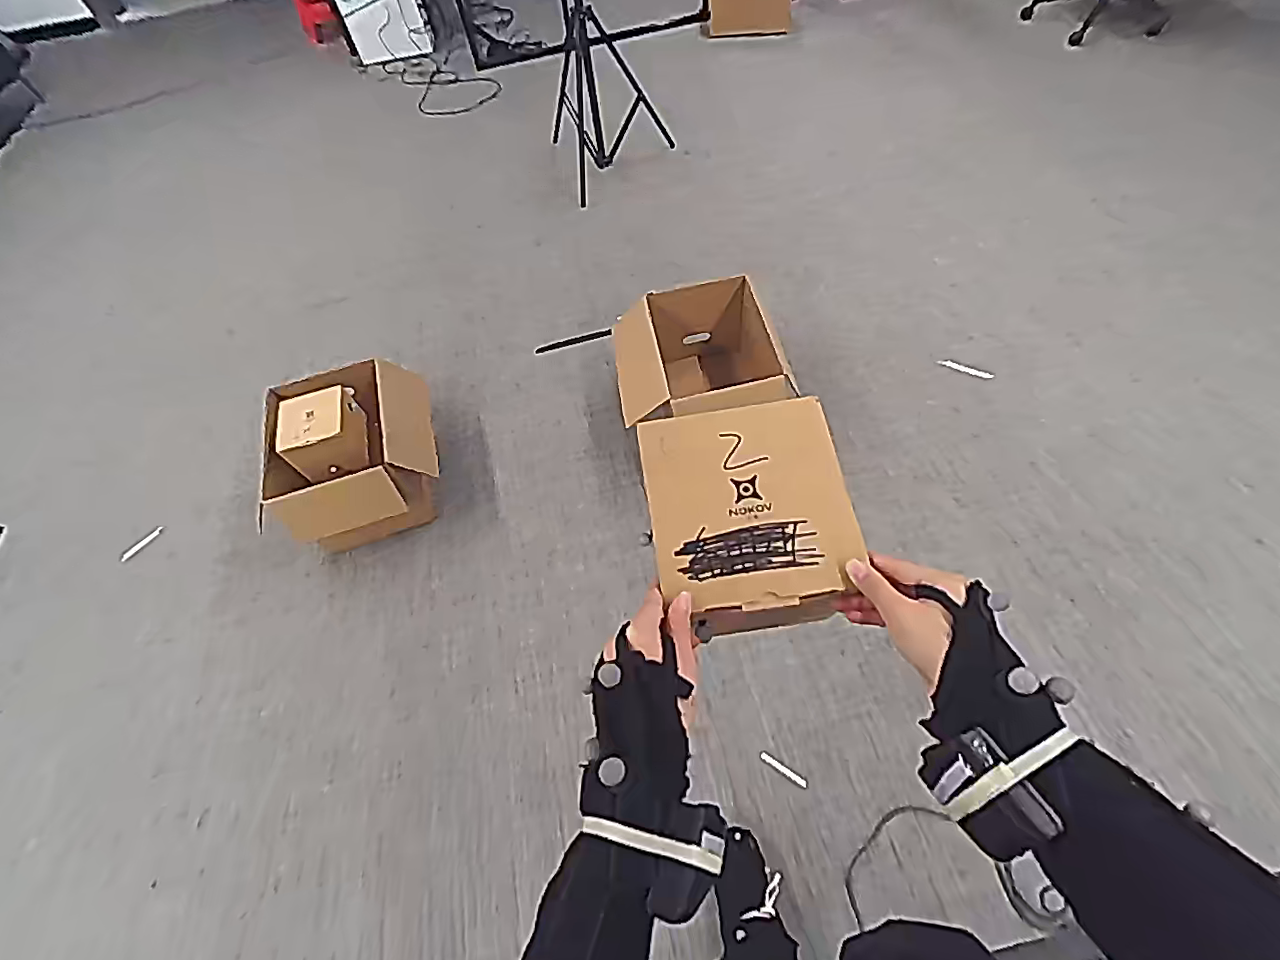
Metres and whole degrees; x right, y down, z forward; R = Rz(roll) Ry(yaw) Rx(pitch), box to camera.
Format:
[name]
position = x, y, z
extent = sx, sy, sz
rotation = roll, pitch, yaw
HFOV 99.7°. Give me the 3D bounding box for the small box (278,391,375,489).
[small box]
position = -0.841, -0.105, 1.466
extent = 0.168, 0.176, 0.179
rotation = -17, 58, -4
